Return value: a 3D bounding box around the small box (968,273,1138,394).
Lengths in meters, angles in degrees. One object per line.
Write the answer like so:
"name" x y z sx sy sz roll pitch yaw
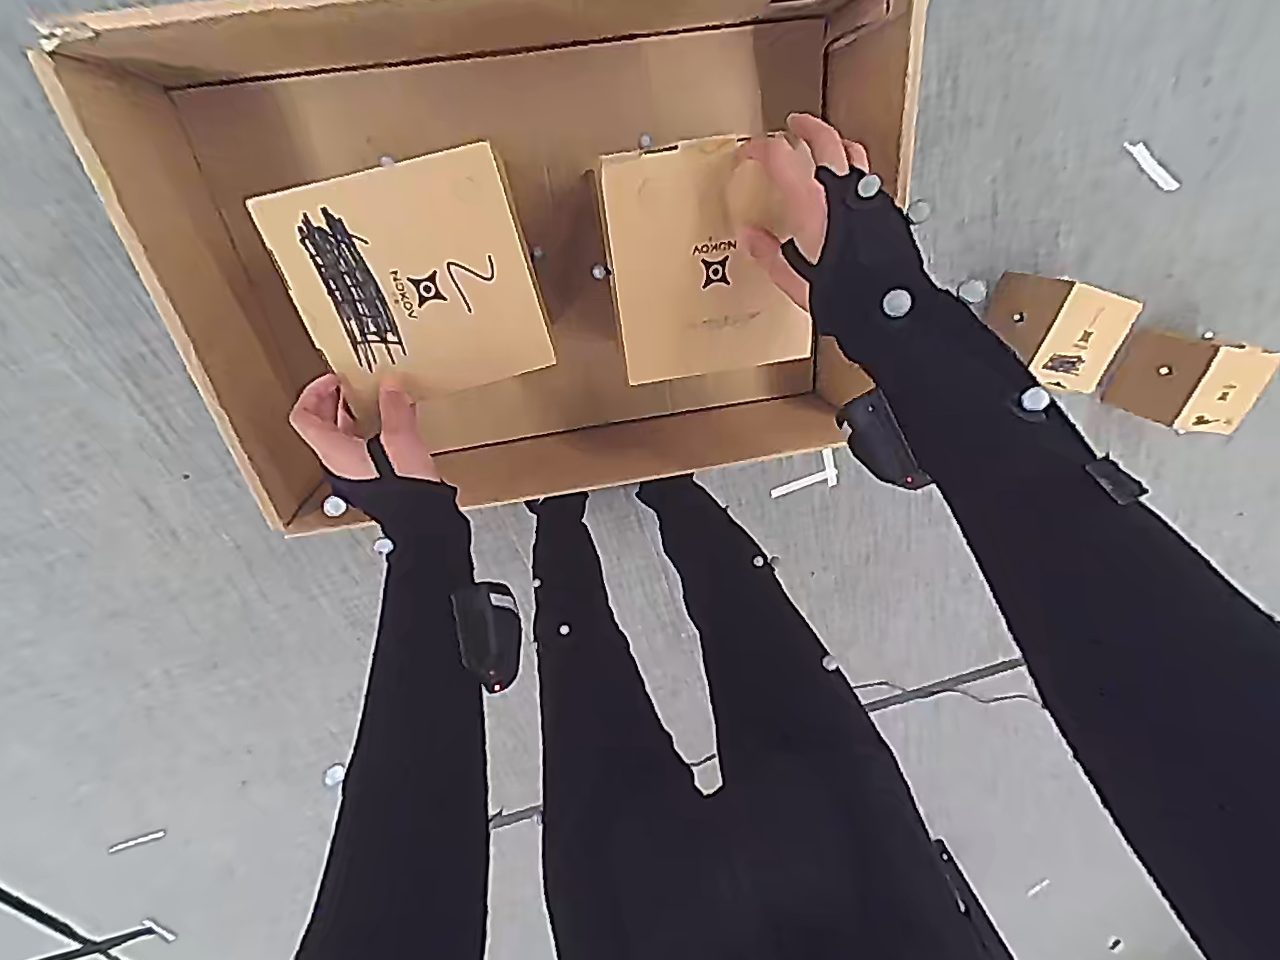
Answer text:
"small box" 0.791 -0.292 1.062 0.168 0.176 0.179 10 114 -14

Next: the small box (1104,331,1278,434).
"small box" 1.166 -0.214 1.162 0.168 0.176 0.179 4 115 -11

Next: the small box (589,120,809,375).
"small box" 0.047 -0.214 0.509 0.168 0.176 0.179 -9 116 -3
